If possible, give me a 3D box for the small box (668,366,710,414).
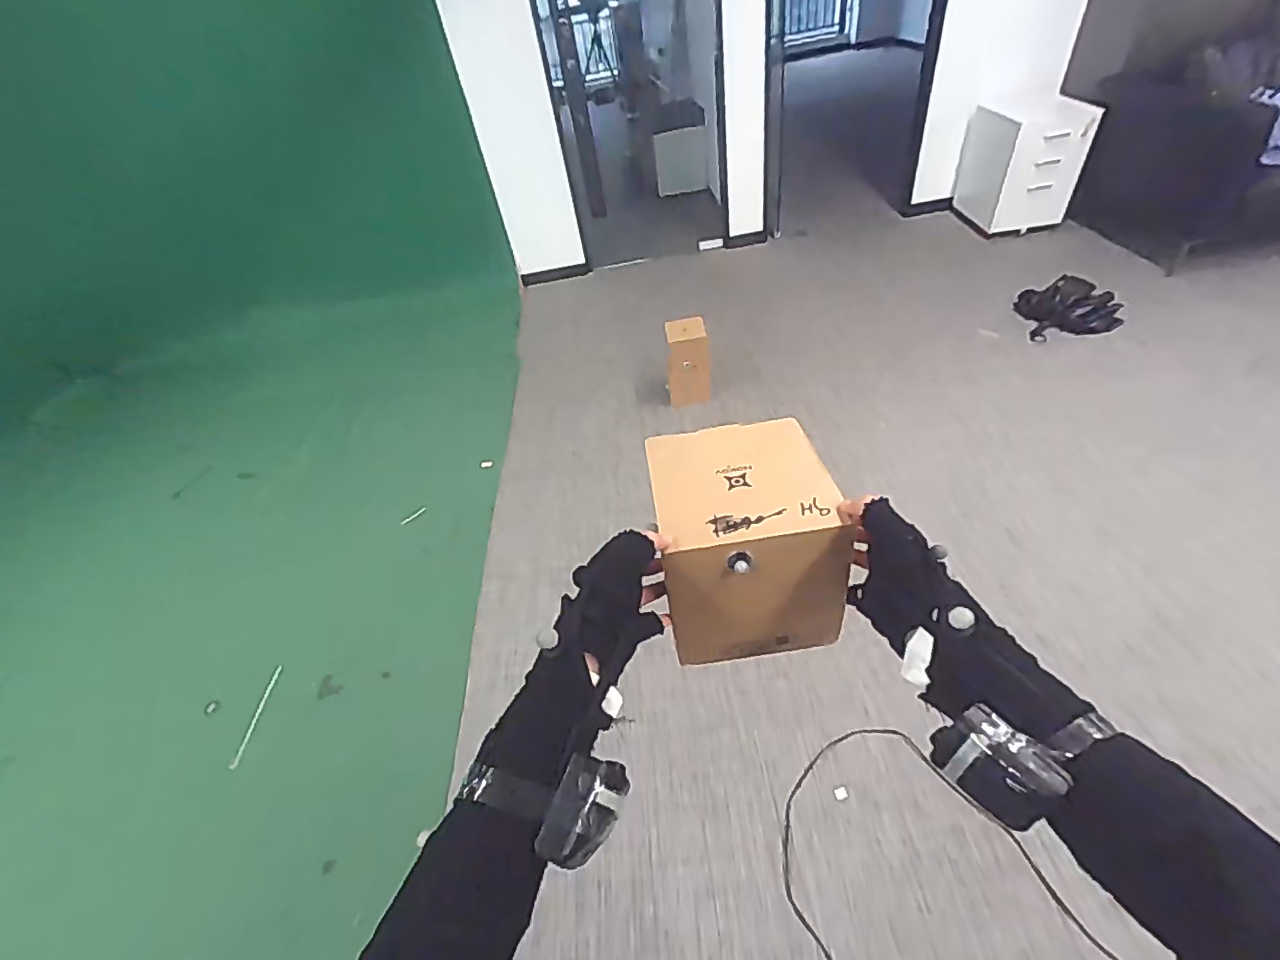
[{"bbox_3d":[0.228,-0.424,2.495,0.179,0.176,0.168,-9,42,5],"label":"small box"}]

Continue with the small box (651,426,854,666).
[{"bbox_3d":[0.106,0.066,0.572,0.168,0.176,0.179,-9,36,2],"label":"small box"}]

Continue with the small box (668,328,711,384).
[{"bbox_3d":[0.217,-0.549,2.393,0.168,0.176,0.179,-9,43,5],"label":"small box"}]
